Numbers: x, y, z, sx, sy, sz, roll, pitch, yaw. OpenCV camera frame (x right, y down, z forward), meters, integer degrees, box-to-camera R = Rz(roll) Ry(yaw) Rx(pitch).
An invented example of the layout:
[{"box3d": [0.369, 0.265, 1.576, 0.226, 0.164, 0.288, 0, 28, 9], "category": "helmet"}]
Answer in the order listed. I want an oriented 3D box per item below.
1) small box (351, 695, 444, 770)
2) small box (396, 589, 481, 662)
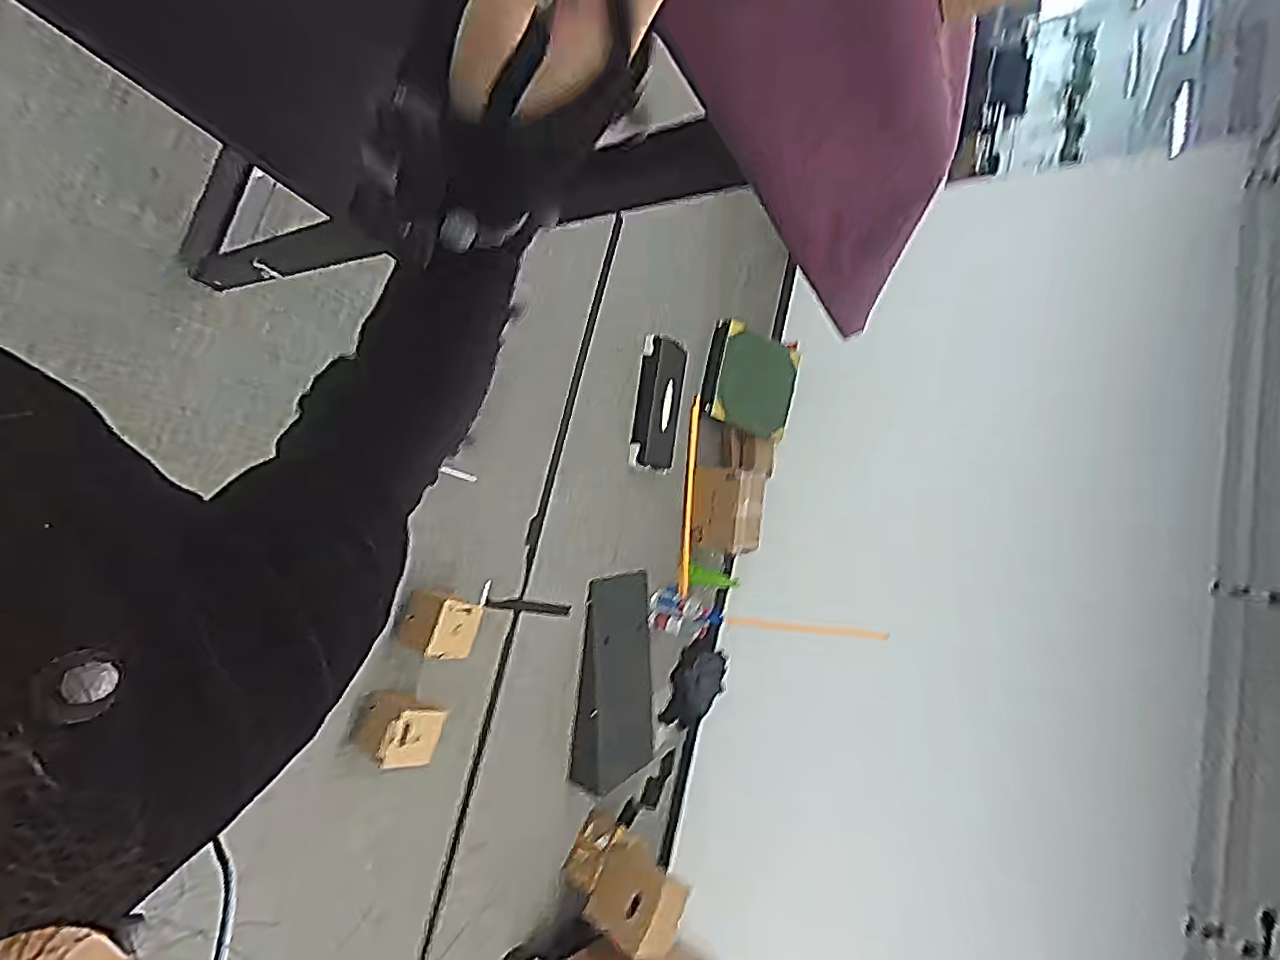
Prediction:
[{"box3d": [-0.755, 0.780, 1.680, 0.179, 0.176, 0.168, 38, 66, -54], "category": "small box"}, {"box3d": [-0.659, 0.472, 1.756, 0.168, 0.176, 0.179, 37, 68, -54], "category": "small box"}]
